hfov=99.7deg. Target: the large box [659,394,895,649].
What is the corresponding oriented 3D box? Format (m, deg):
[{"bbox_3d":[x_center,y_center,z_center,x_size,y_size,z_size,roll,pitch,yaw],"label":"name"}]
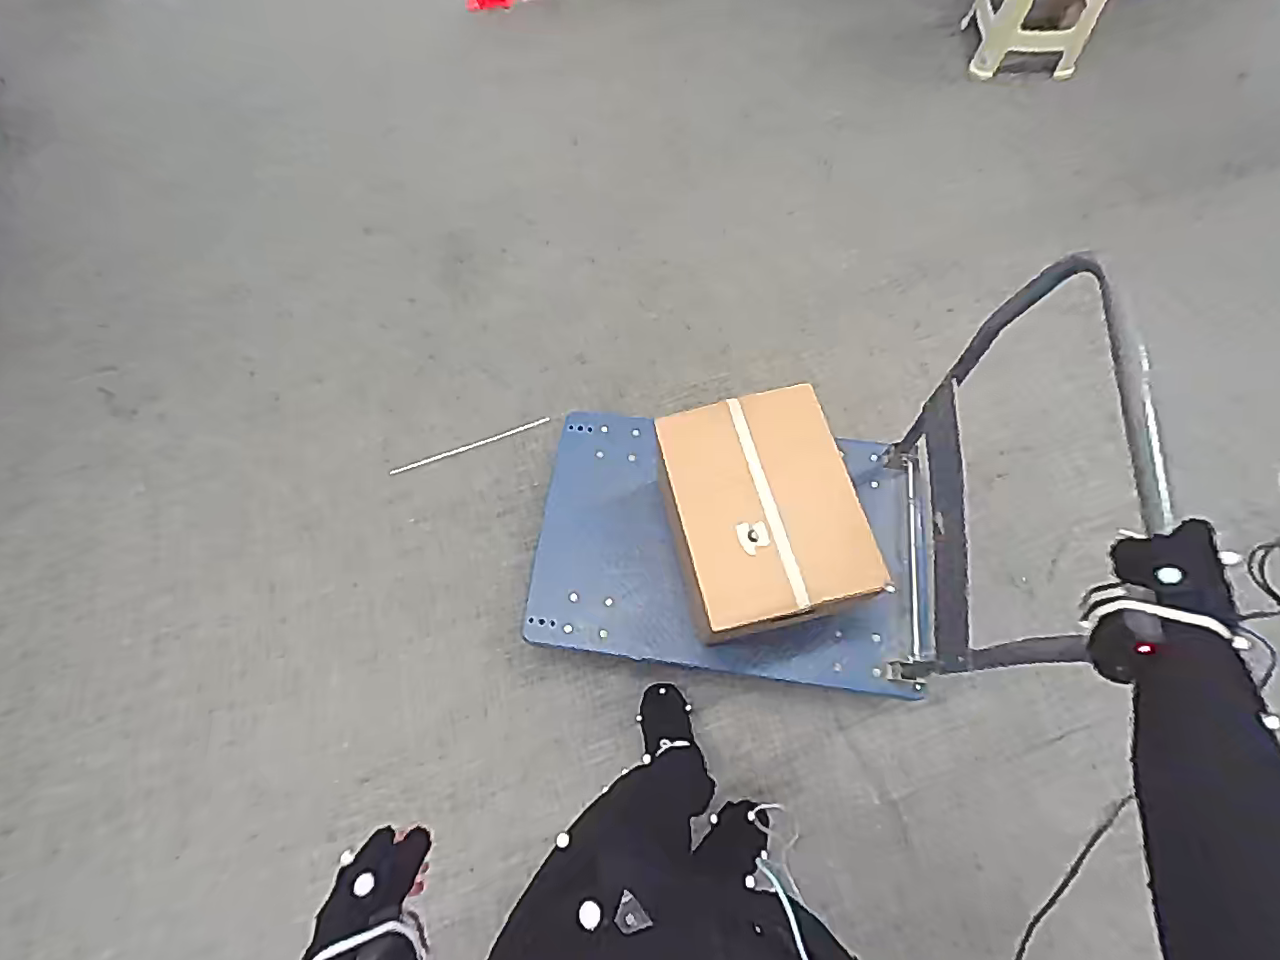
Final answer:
[{"bbox_3d":[0.238,0.098,1.109,0.320,0.320,0.408,-15,69,-2],"label":"large box"}]
